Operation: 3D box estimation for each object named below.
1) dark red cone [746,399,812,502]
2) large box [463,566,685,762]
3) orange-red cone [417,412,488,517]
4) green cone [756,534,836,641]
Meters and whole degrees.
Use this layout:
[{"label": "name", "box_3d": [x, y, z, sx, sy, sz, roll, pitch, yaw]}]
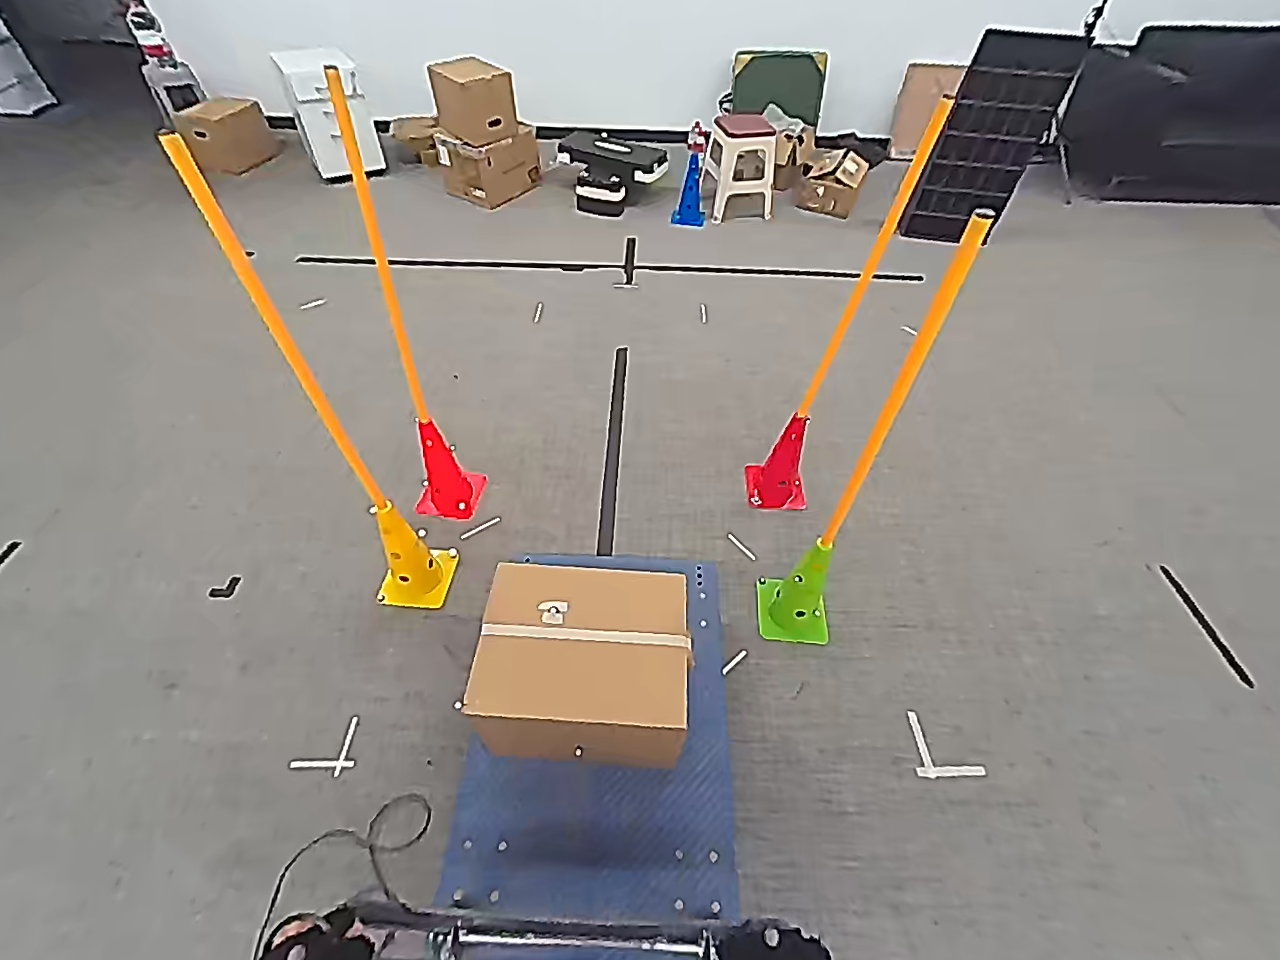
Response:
[{"label": "dark red cone", "box_3d": [0.494, -0.108, 1.798, 0.201, 0.394, 0.202, 4, 50, -2]}, {"label": "large box", "box_3d": [-0.113, 0.404, 1.171, 0.408, 0.320, 0.320, 3, 50, 1]}, {"label": "orange-red cone", "box_3d": [-0.639, -0.075, 1.745, 0.198, 0.360, 0.199, 9, 48, 4]}, {"label": "green cone", "box_3d": [0.461, 0.271, 1.497, 0.202, 0.368, 0.200, 6, 50, 1]}]
